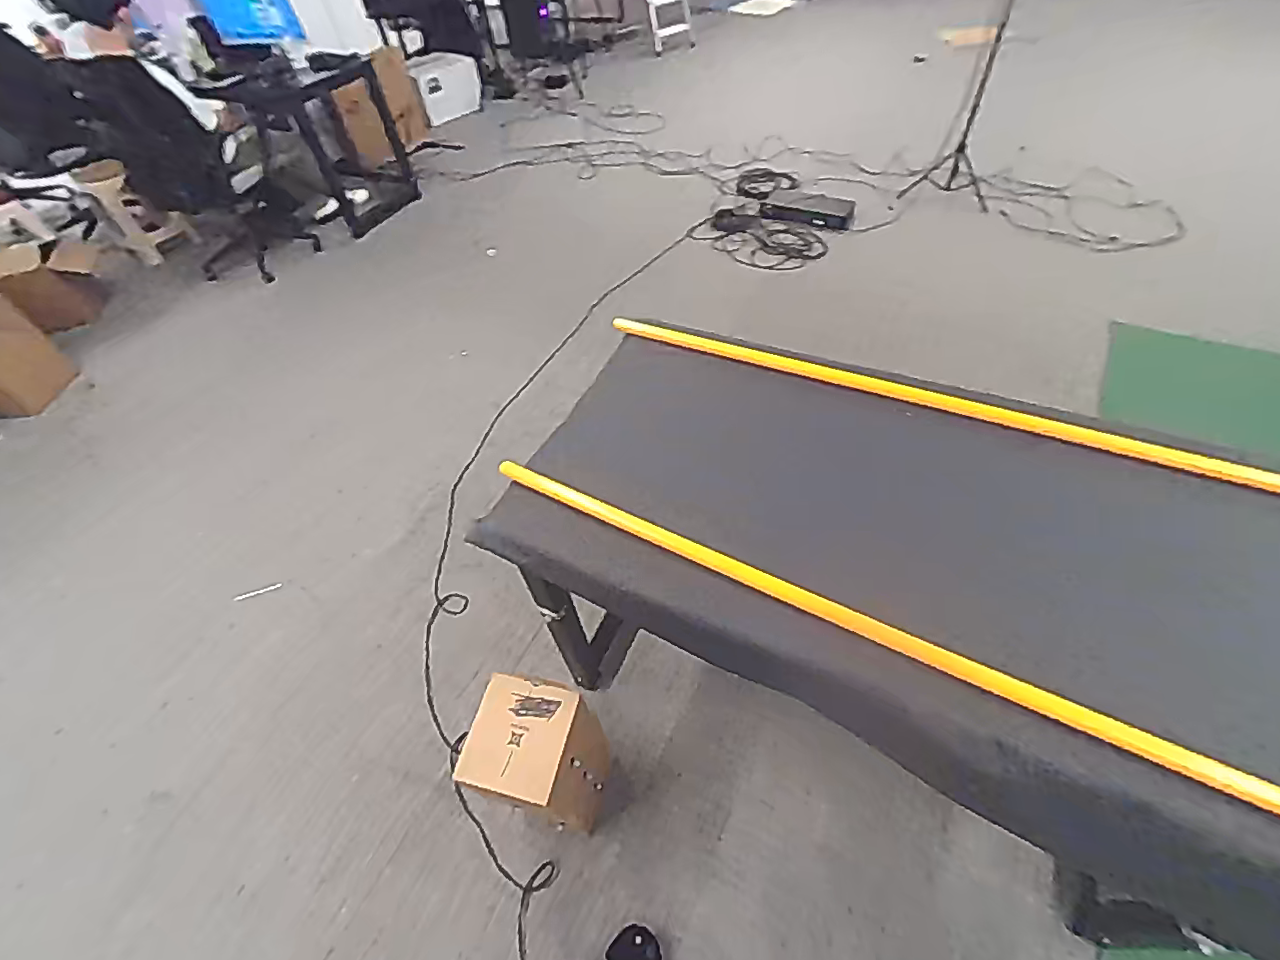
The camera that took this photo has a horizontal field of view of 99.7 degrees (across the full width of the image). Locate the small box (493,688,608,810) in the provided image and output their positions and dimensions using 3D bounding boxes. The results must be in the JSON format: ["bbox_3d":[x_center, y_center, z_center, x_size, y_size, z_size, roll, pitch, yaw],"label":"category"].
[{"bbox_3d":[-0.170,0.548,1.097,0.168,0.176,0.179,5,51,13],"label":"small box"}]
